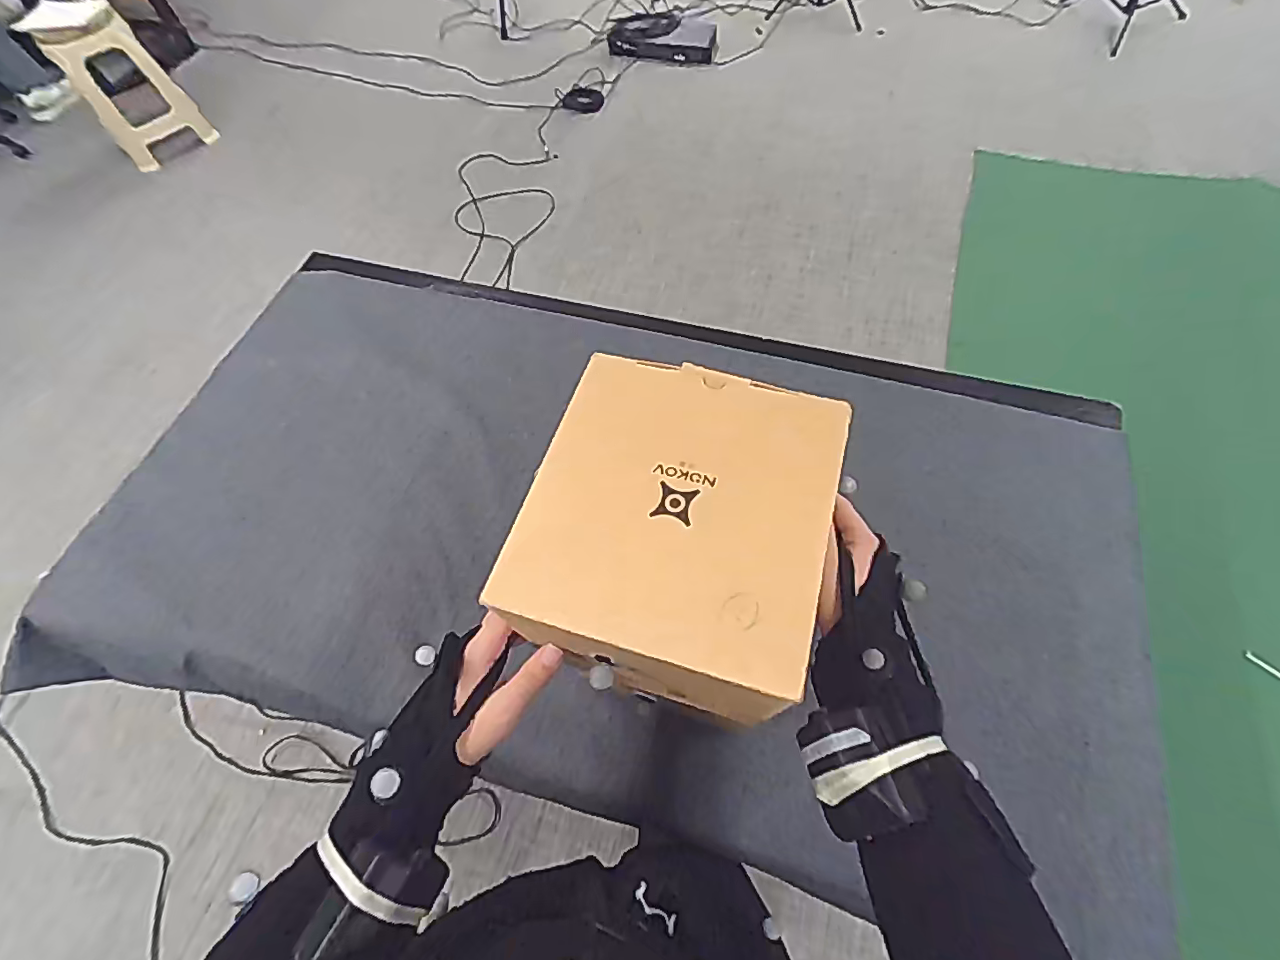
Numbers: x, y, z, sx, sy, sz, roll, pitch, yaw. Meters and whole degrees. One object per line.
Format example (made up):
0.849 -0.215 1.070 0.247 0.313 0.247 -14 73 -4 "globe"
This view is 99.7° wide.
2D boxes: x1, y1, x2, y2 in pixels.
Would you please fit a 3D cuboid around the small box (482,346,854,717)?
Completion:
0.028 0.043 0.362 0.168 0.176 0.179 13 63 12 "small box"
